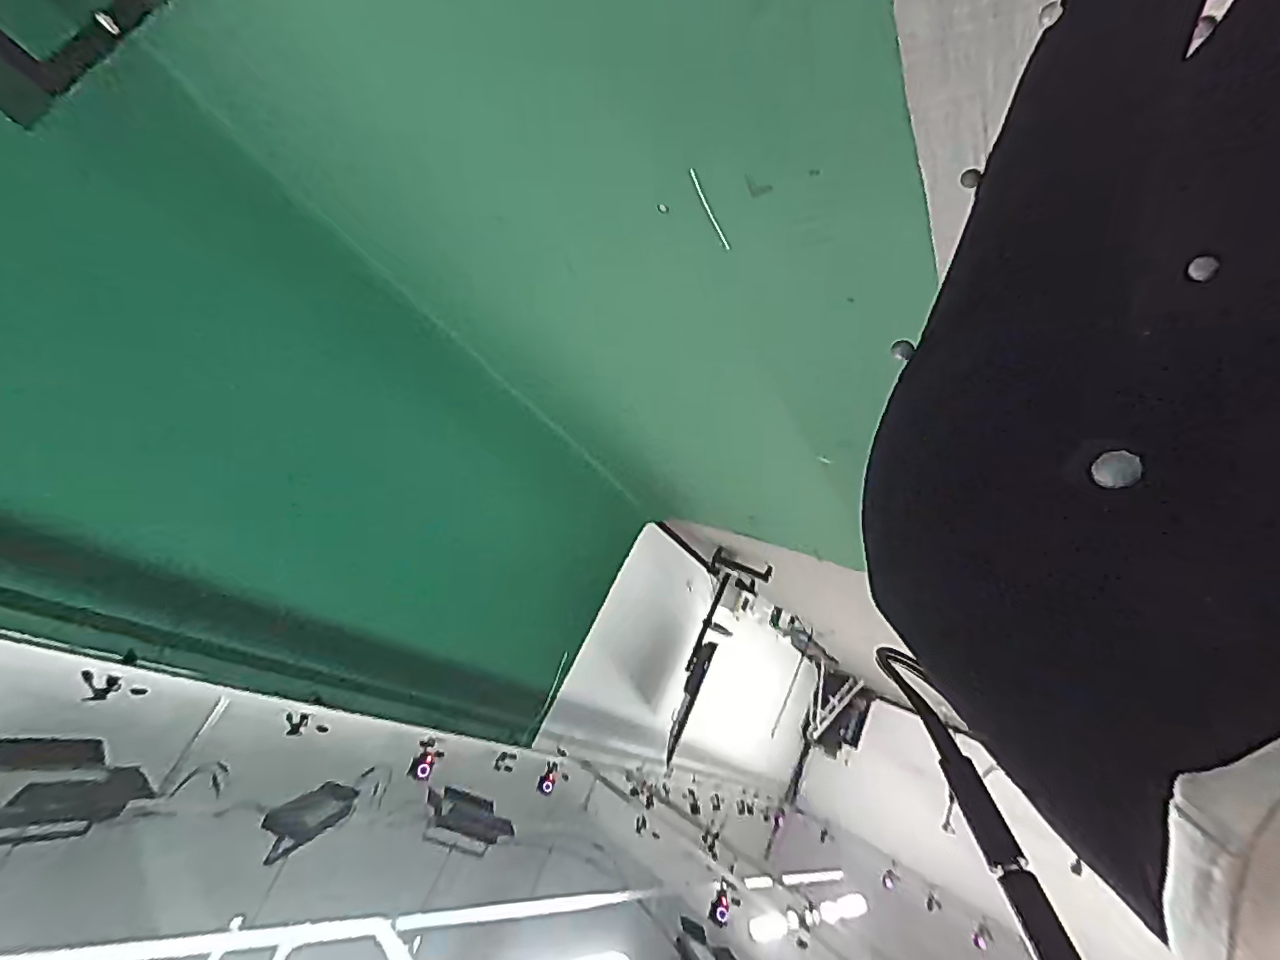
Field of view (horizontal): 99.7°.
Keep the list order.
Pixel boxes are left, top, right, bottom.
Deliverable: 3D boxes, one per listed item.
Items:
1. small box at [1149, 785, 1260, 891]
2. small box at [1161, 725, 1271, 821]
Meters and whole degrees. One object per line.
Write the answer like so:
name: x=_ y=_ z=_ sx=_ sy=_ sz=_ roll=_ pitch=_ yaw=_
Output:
small box: x=1.454 y=0.917 z=1.396 sx=0.168 sy=0.176 sz=0.179 roll=13 pitch=159 yaw=41
small box: x=1.524 y=0.773 z=1.434 sx=0.168 sy=0.176 sz=0.179 roll=15 pitch=160 yaw=40
